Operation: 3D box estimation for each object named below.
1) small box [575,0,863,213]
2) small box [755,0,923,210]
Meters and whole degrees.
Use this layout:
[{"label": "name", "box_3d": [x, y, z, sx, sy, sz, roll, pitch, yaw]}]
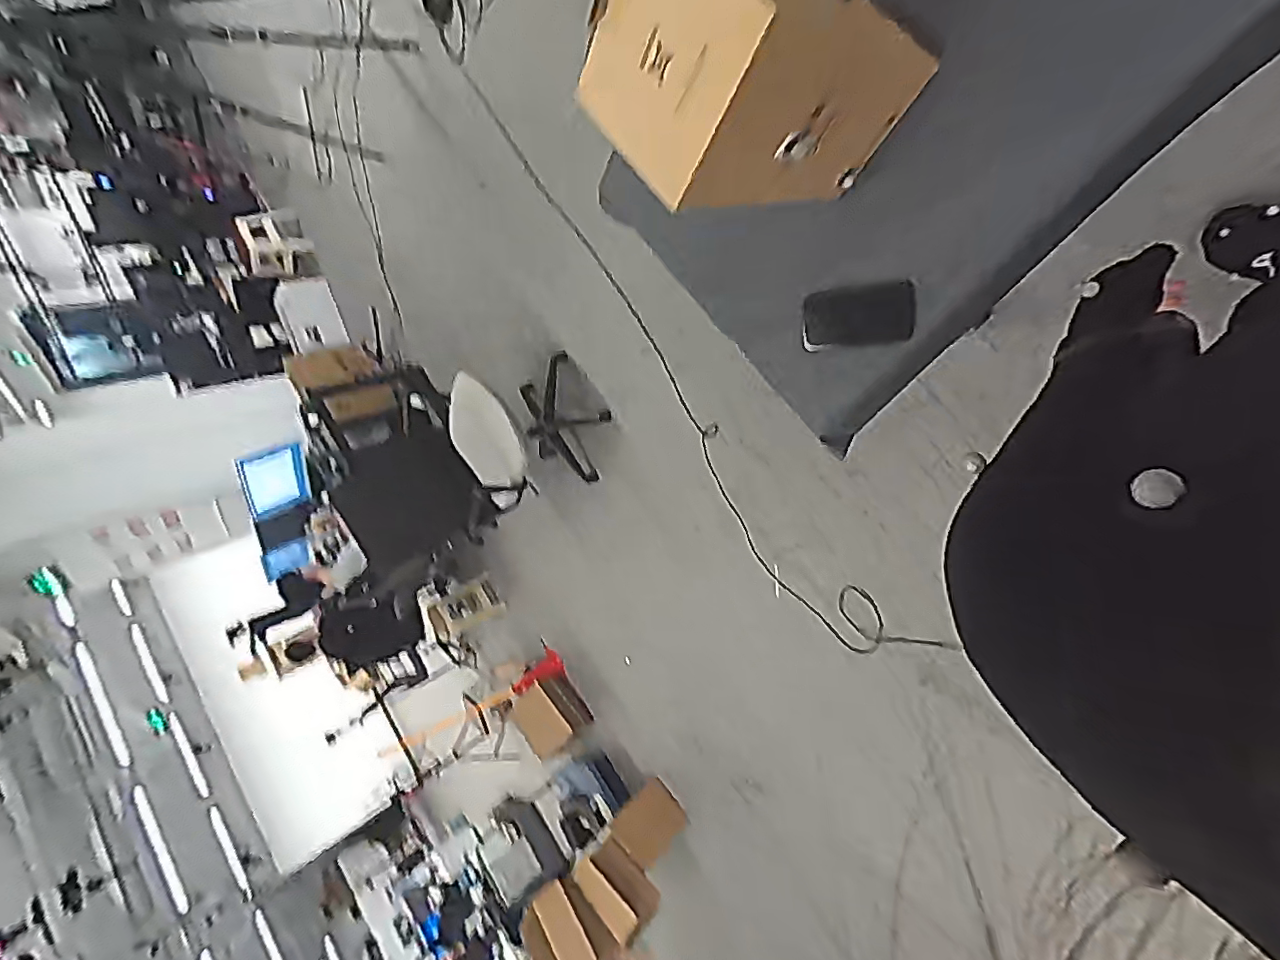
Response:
[{"label": "small box", "box_3d": [0.072, -0.387, 0.523, 0.179, 0.176, 0.168, 53, 141, 13]}, {"label": "small box", "box_3d": [0.184, -0.444, 0.626, 0.179, 0.176, 0.168, 55, 141, 14]}]
